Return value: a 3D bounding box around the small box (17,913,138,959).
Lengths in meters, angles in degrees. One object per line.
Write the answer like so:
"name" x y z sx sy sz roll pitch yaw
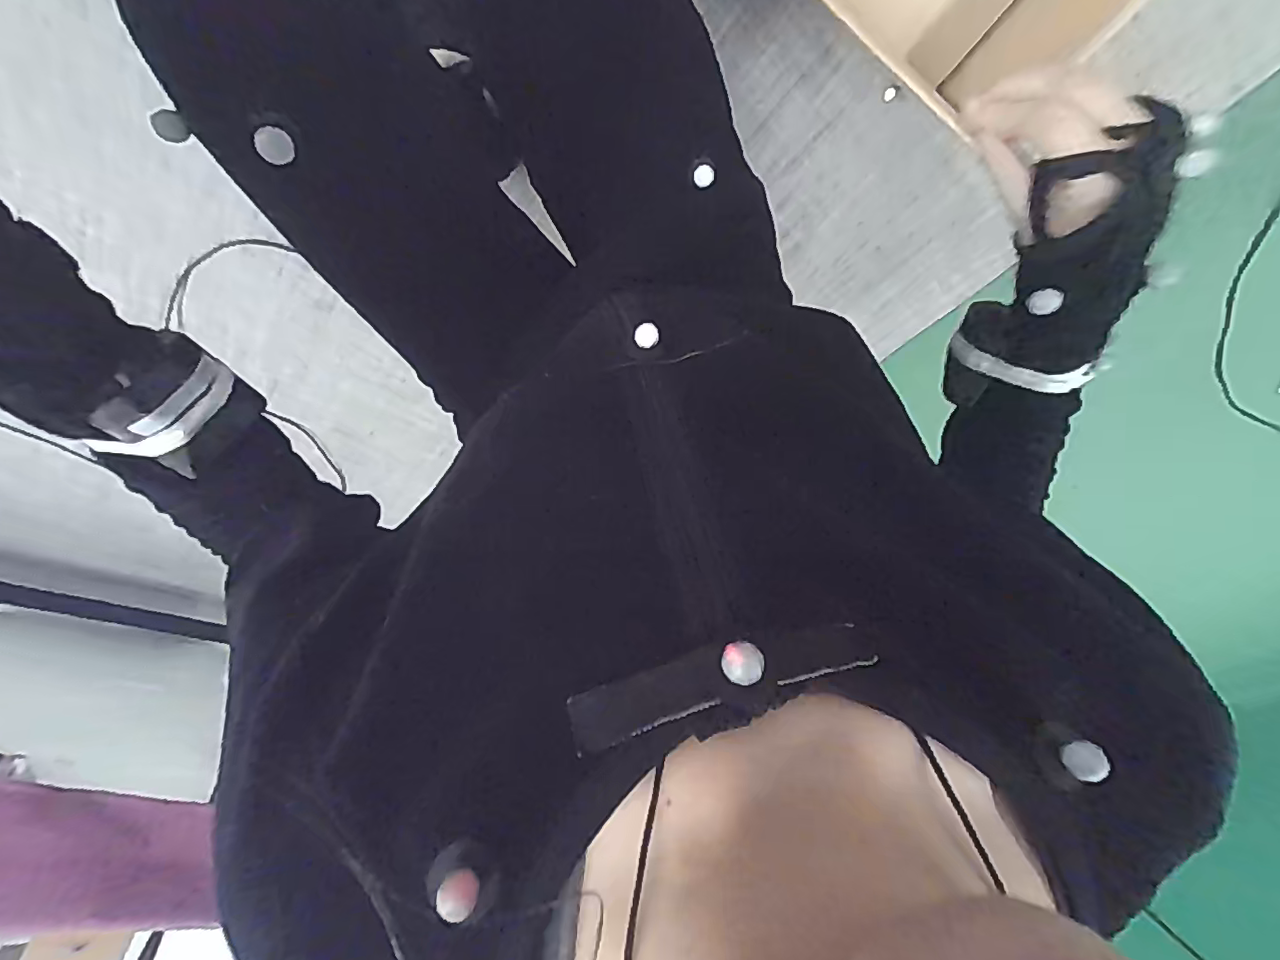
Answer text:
"small box" -1.269 1.076 1.199 0.179 0.176 0.168 23 136 -29
